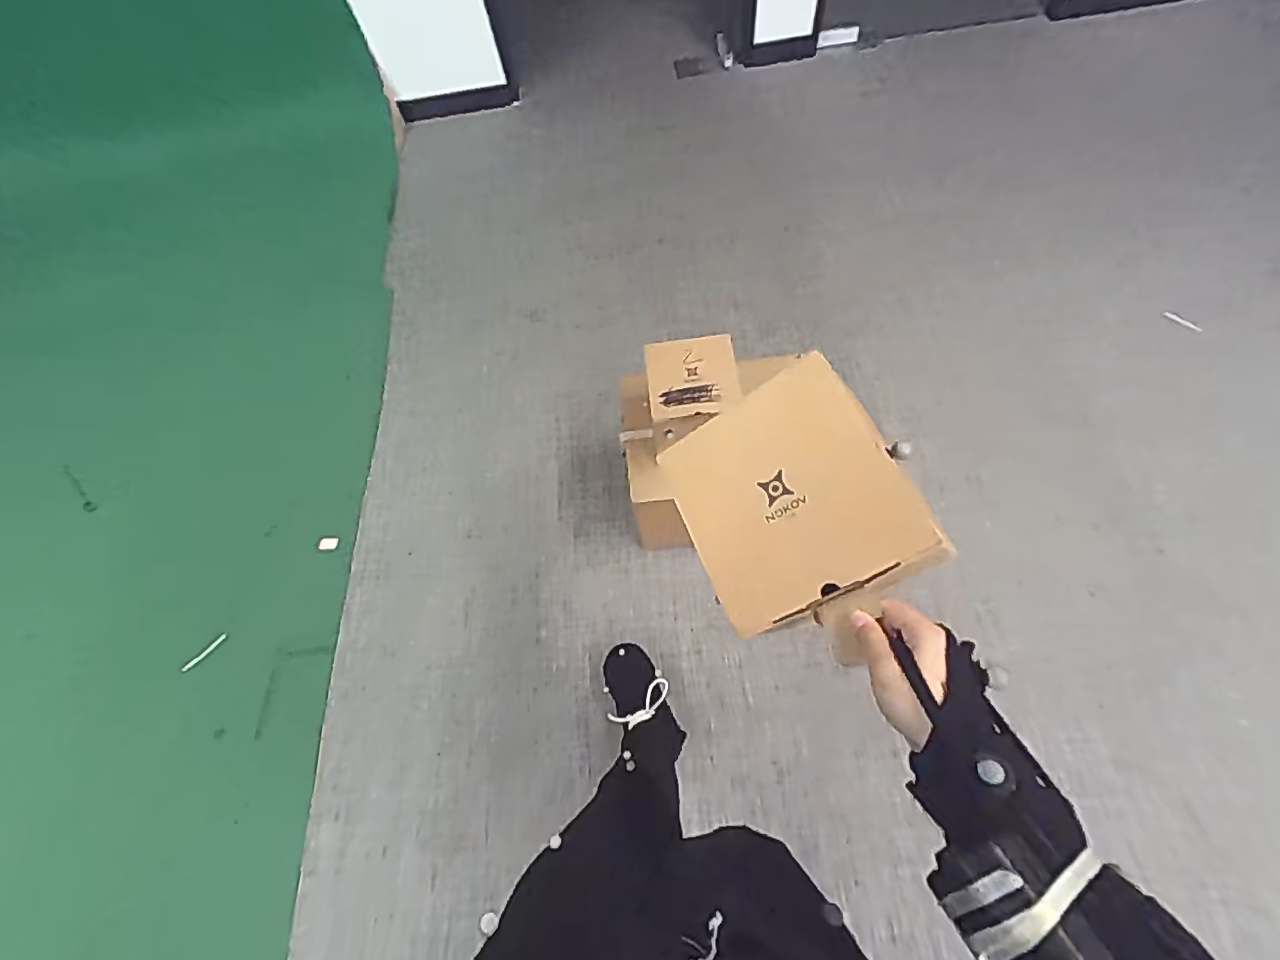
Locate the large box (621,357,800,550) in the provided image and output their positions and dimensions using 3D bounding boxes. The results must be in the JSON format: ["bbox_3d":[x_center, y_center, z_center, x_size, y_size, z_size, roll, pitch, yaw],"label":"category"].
[{"bbox_3d":[0.179,-0.047,1.268,0.408,0.320,0.320,-7,65,1],"label":"large box"}]

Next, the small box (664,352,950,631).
[{"bbox_3d":[0.154,0.023,0.492,0.168,0.176,0.179,-33,65,23],"label":"small box"}]
